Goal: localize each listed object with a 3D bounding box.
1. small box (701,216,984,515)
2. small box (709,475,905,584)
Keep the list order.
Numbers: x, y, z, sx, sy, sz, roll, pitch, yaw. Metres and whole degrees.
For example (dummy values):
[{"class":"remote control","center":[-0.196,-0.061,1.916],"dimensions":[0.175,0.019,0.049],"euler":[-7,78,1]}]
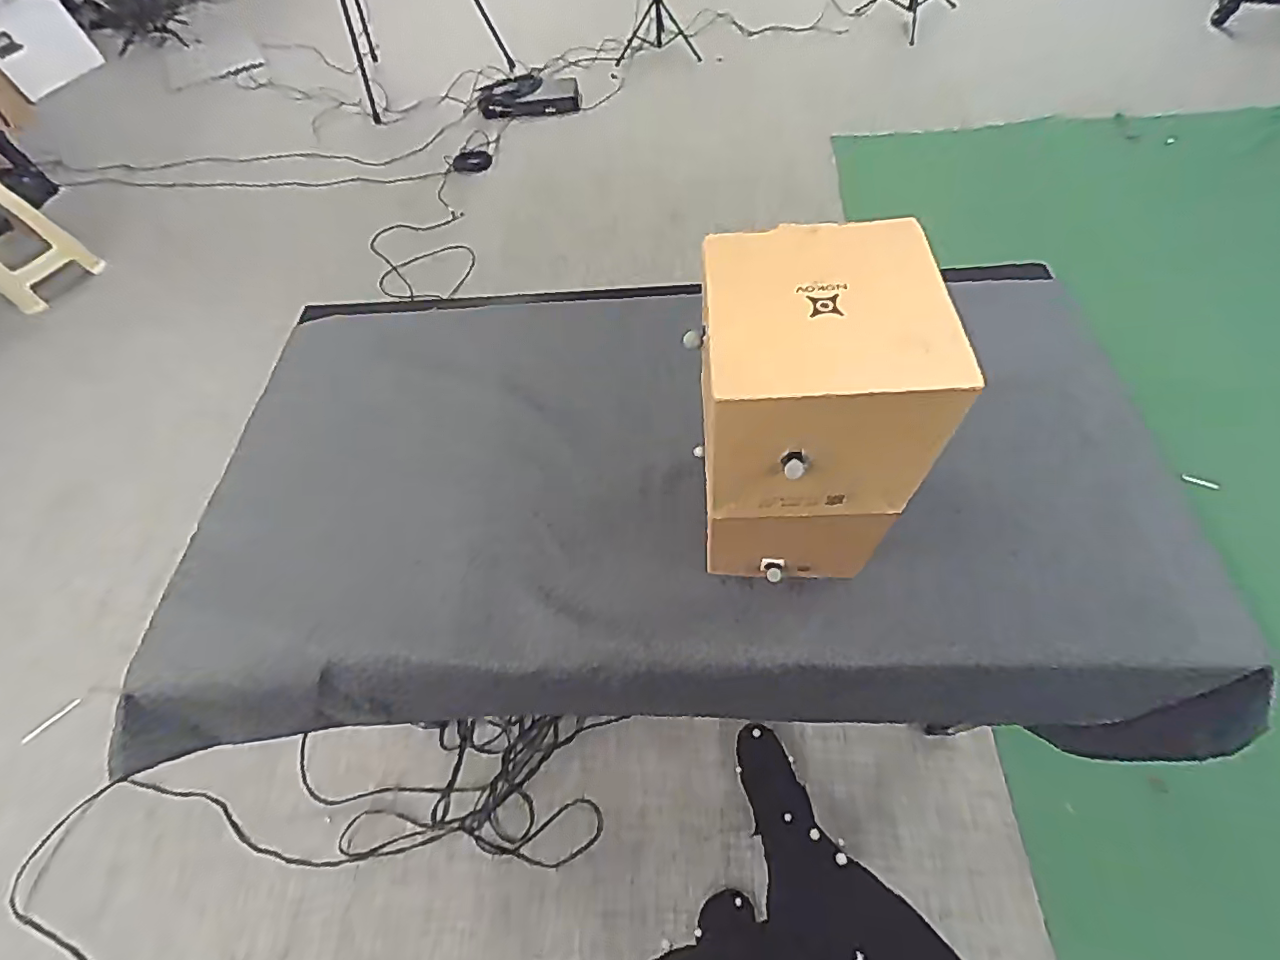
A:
[{"class":"small box","center":[0.137,-0.080,0.440],"dimensions":[0.168,0.176,0.179],"euler":[-3,57,6]},{"class":"small box","center":[0.158,-0.002,0.582],"dimensions":[0.168,0.176,0.179],"euler":[-2,59,7]}]
